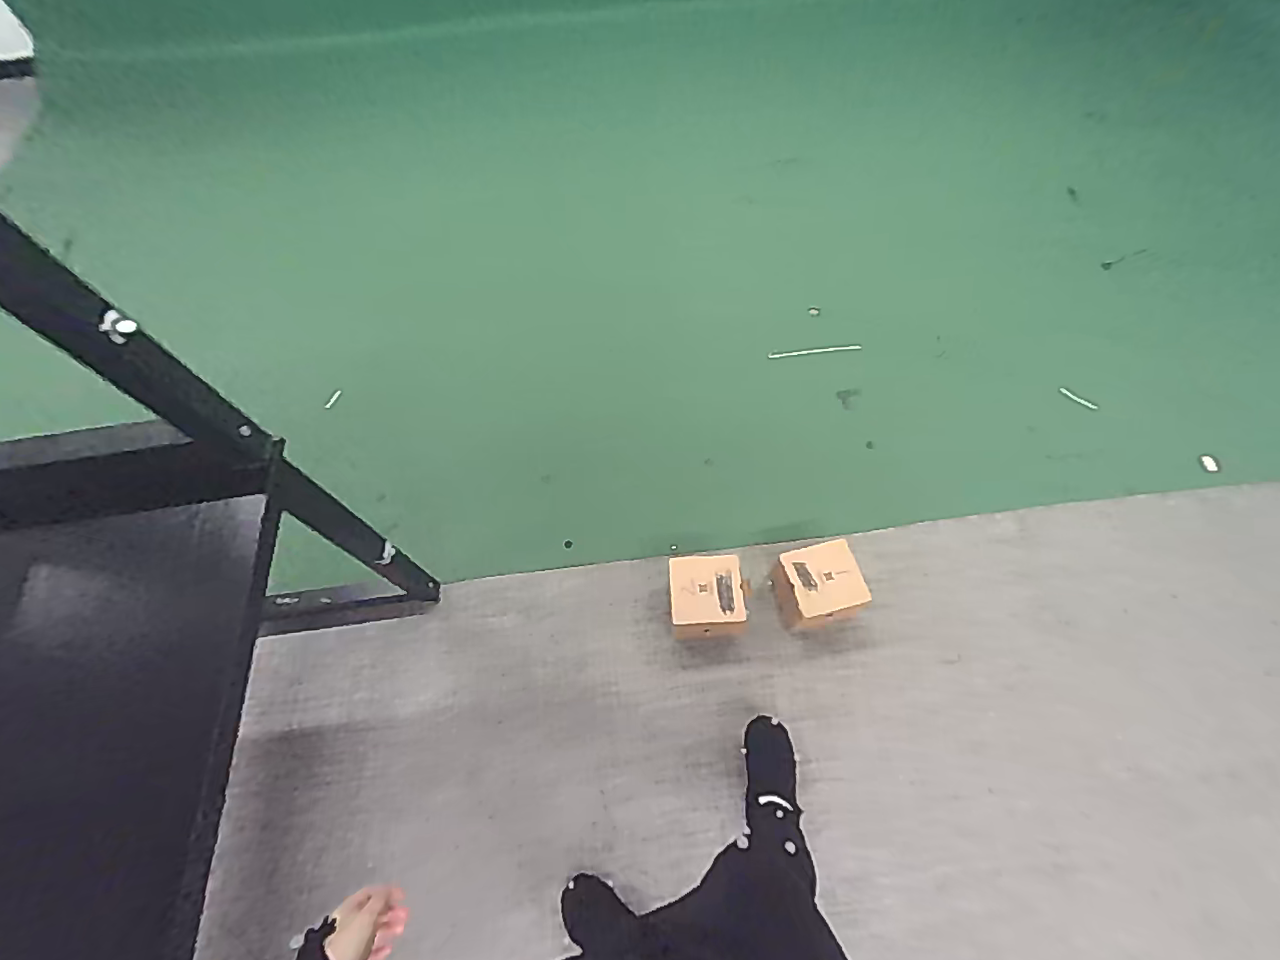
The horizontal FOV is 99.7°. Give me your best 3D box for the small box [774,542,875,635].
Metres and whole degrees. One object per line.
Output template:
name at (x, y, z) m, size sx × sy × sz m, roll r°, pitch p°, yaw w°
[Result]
small box at (0.448, 0.276, 1.351) m, size 0.179 × 0.176 × 0.168 m, roll -13°, pitch 63°, yaw -5°
